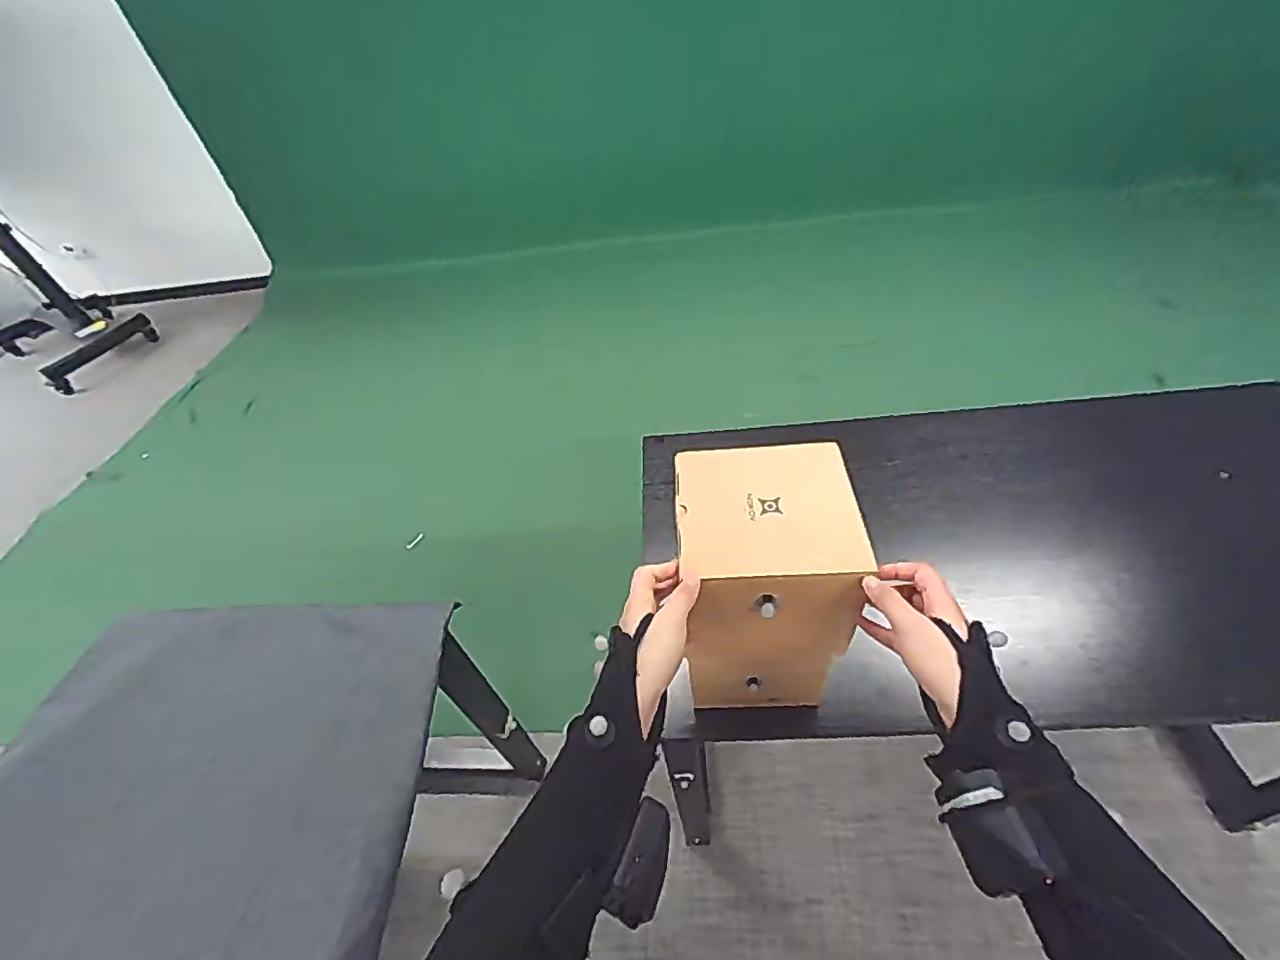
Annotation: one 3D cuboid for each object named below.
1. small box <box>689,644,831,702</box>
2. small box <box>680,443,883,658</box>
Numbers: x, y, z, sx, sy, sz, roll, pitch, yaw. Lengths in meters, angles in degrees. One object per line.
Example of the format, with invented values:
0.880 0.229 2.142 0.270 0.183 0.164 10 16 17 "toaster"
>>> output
0.149 0.181 0.714 0.168 0.176 0.179 -3 45 5 "small box"
0.136 0.080 0.586 0.179 0.176 0.168 -4 47 6 "small box"
